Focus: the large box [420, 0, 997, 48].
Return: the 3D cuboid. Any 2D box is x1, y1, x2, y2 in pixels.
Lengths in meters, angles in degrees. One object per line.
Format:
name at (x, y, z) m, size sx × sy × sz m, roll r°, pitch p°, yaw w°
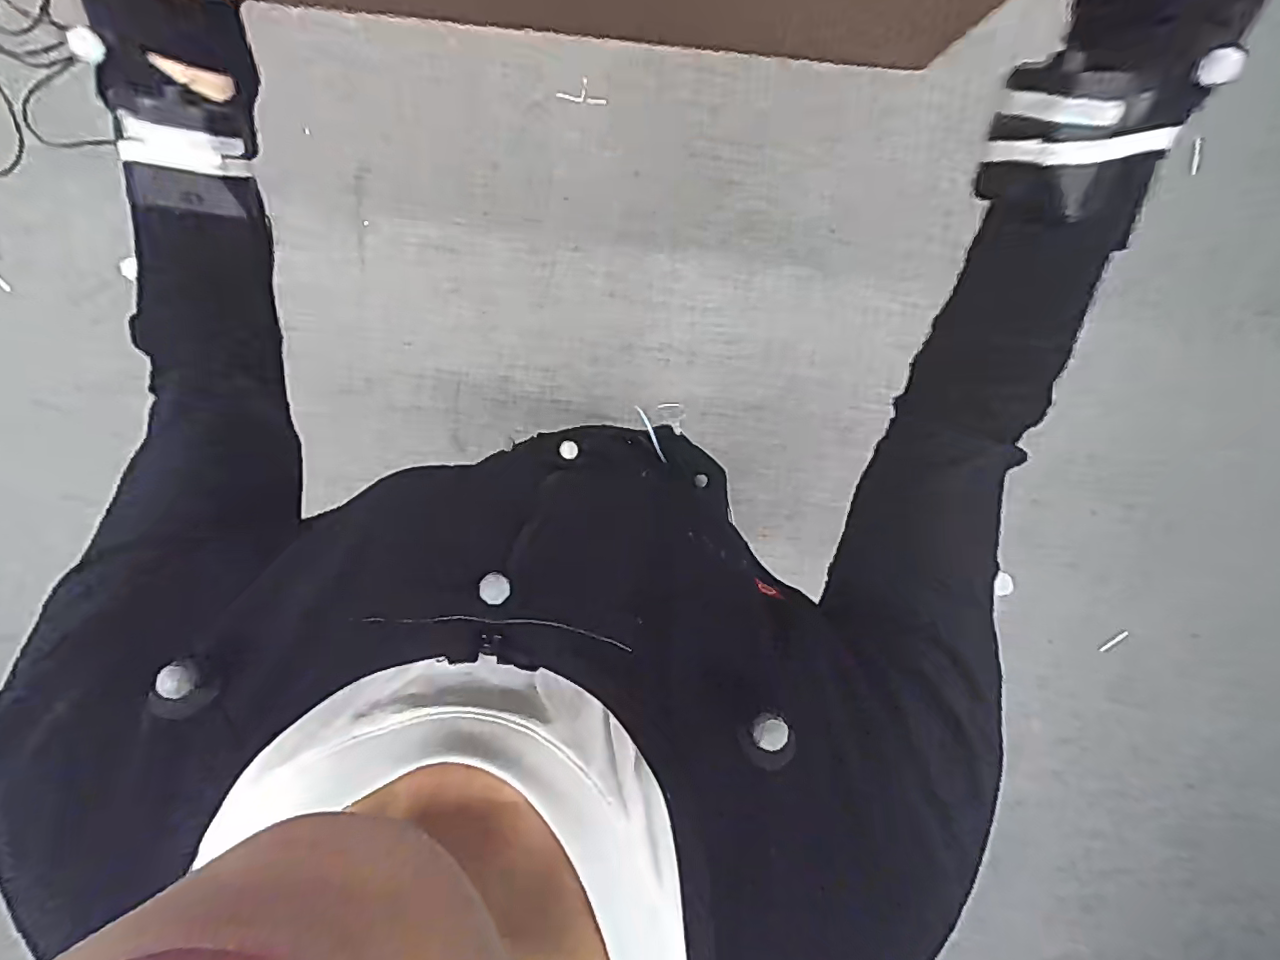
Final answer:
large box at (-0.010, -0.349, 0.103) m, size 0.408 × 0.320 × 0.320 m, roll 3°, pitch 107°, yaw -5°
